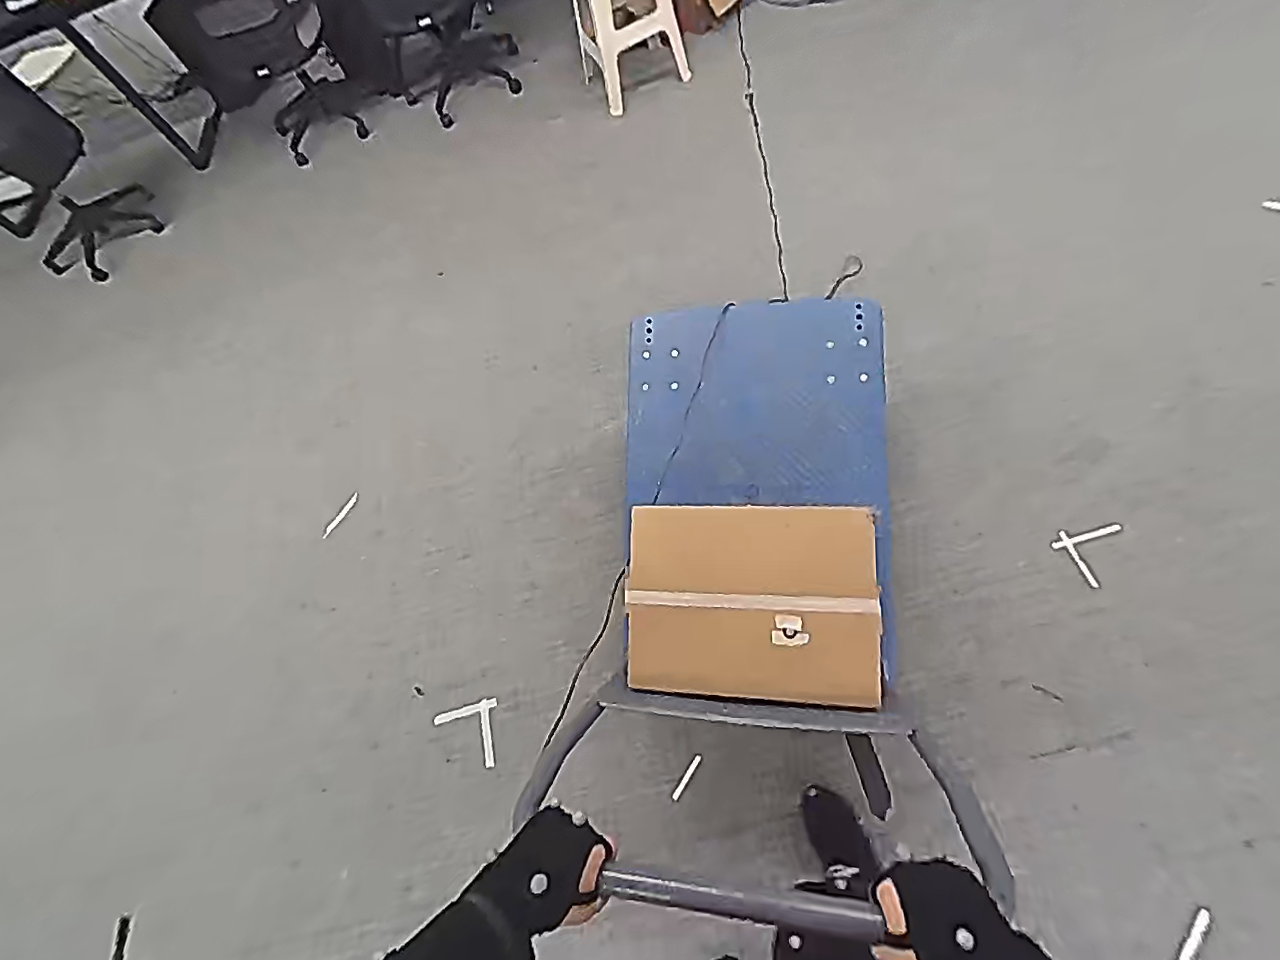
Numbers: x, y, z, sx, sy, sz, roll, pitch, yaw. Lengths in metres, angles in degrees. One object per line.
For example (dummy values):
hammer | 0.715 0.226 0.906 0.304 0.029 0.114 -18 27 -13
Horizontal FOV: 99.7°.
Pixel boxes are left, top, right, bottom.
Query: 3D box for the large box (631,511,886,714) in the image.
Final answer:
large box | 0.209 0.229 1.020 0.408 0.320 0.320 0 83 12
